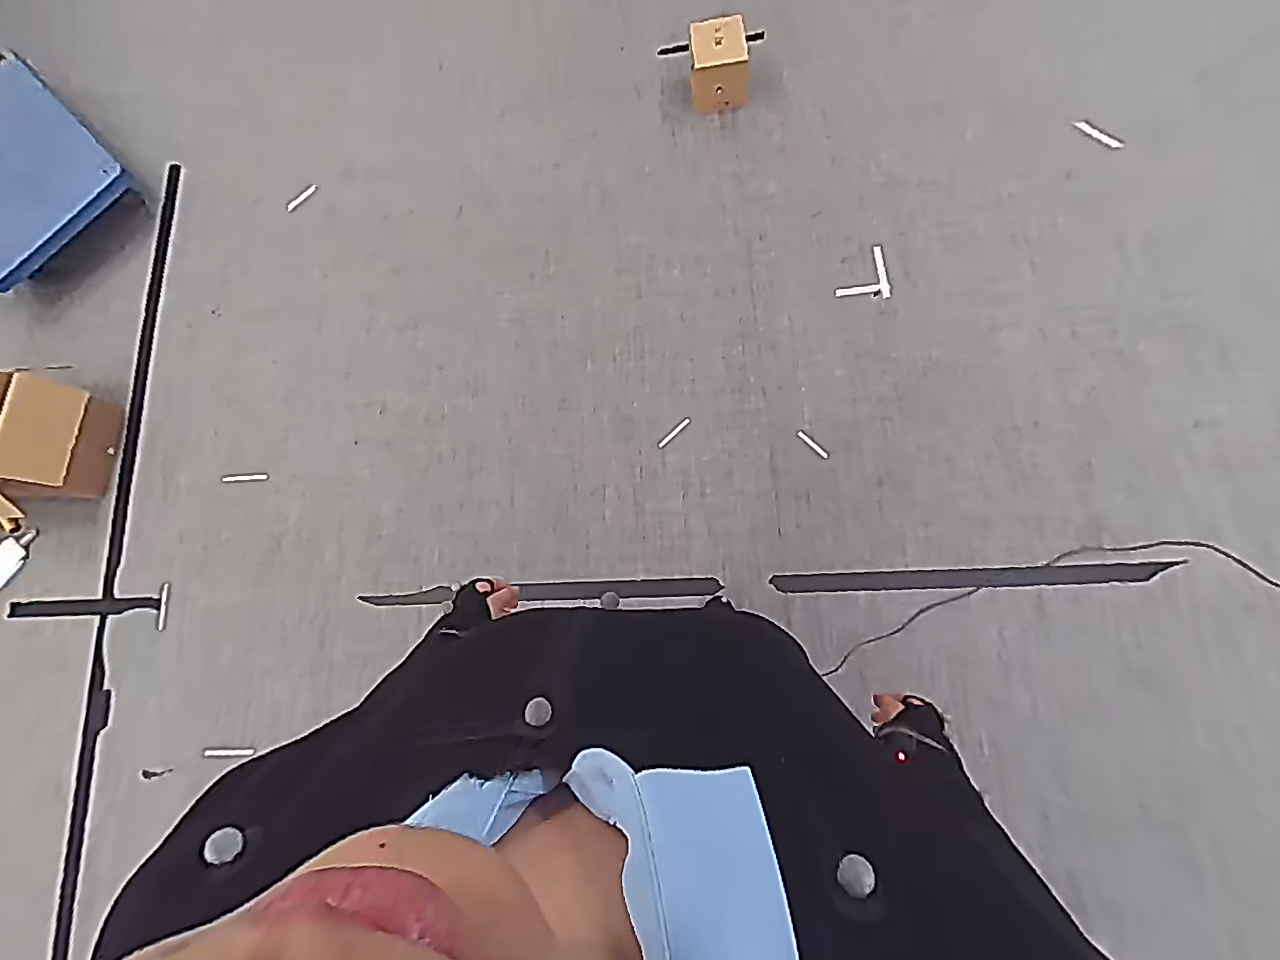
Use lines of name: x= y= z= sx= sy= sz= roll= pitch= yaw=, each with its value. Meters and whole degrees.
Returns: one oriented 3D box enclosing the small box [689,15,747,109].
small box: x=0.249 y=-1.333 z=1.741 sx=0.168 sy=0.176 sz=0.179 roll=-6 pitch=77 yaw=5
